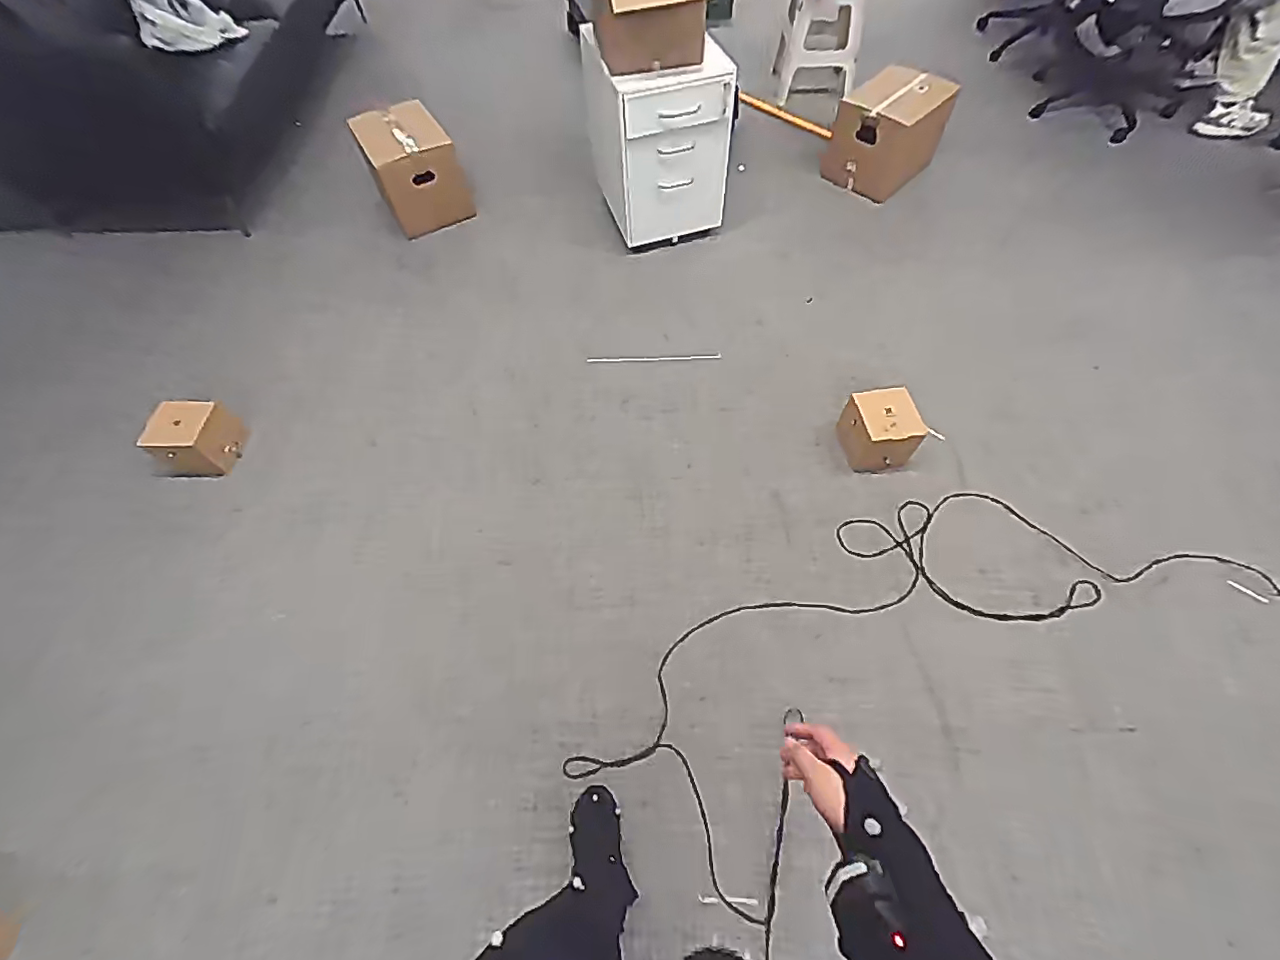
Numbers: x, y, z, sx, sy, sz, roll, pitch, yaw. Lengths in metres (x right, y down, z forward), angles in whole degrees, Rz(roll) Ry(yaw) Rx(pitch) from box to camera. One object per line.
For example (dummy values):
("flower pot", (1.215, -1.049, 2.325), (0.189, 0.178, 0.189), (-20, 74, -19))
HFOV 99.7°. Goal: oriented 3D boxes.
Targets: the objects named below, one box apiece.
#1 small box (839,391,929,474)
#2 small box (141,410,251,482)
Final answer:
("small box", (0.715, -0.139, 1.612), (0.168, 0.176, 0.179), (-8, 60, -2))
("small box", (-1.391, -0.104, 1.709), (0.179, 0.176, 0.168), (0, 60, 2))
